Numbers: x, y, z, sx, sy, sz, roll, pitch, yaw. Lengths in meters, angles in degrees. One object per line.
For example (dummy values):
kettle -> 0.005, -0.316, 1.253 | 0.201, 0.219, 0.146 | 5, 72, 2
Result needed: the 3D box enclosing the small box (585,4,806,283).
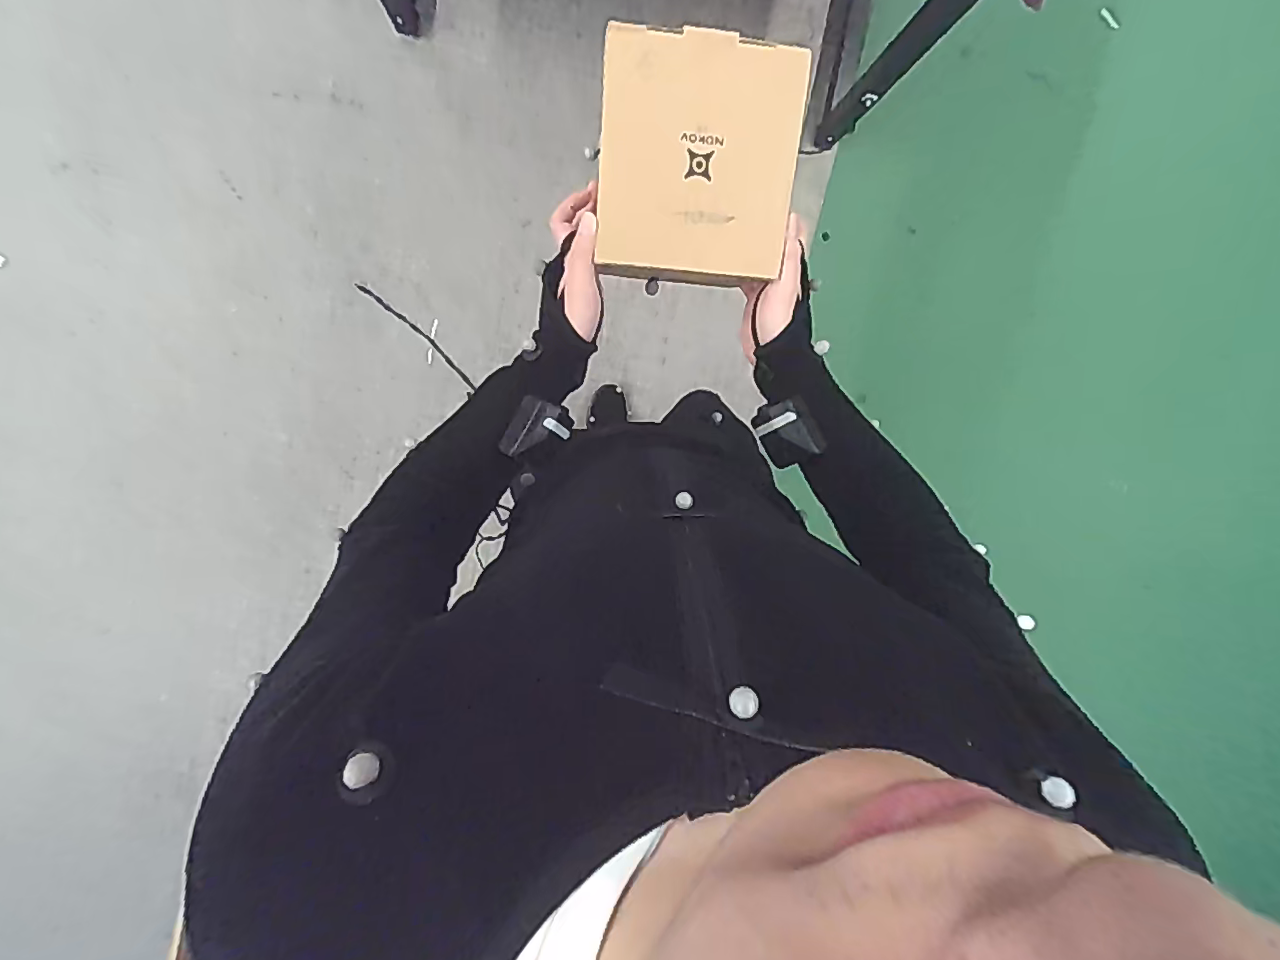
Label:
small box -> 0.035, -0.290, 0.509 | 0.168, 0.176, 0.179 | 4, 107, -5
